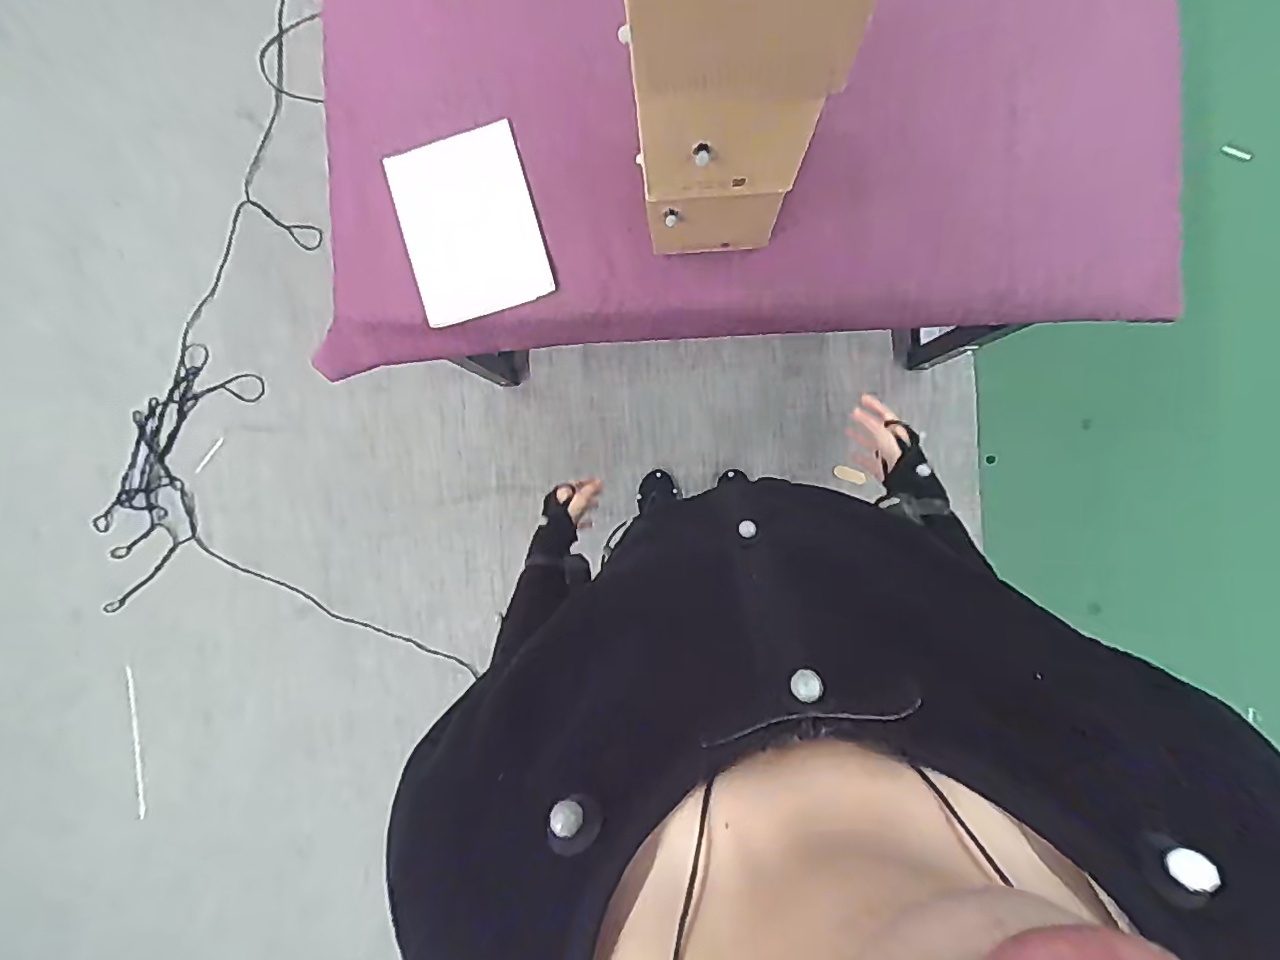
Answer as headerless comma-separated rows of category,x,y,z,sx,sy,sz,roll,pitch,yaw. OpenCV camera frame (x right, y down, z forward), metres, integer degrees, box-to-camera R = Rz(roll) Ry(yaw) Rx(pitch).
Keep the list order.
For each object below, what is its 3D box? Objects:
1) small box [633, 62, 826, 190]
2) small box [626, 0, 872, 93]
small box,0.082,-0.414,0.542,0.168,0.176,0.179,-2,89,4
small box,0.079,-0.408,0.376,0.179,0.176,0.168,1,89,4
